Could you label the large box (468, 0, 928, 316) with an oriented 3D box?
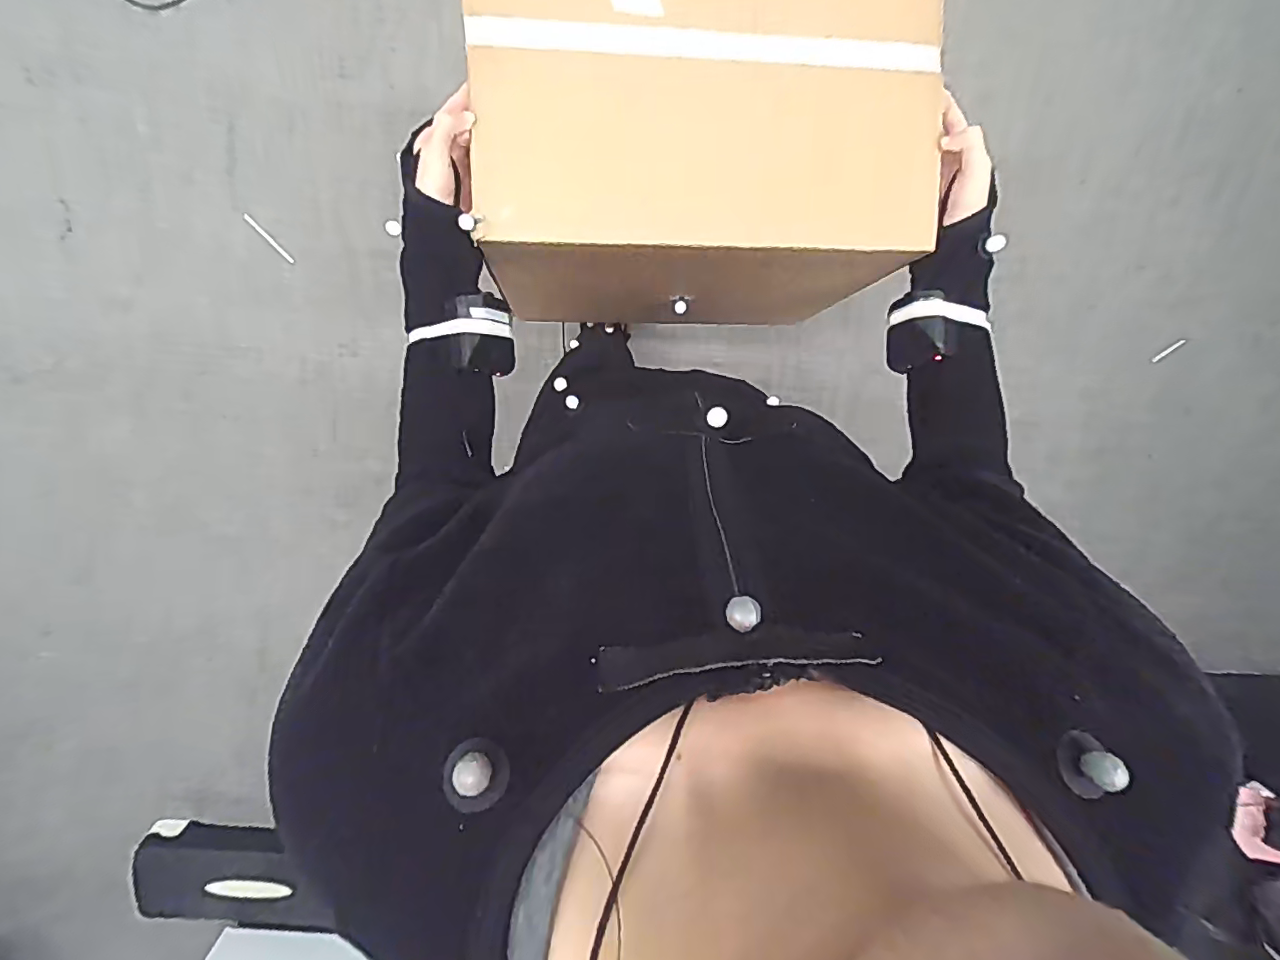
[{"bbox_3d":[0.044,-0.371,0.611,0.408,0.320,0.320,-1,94,-6],"label":"large box"}]
